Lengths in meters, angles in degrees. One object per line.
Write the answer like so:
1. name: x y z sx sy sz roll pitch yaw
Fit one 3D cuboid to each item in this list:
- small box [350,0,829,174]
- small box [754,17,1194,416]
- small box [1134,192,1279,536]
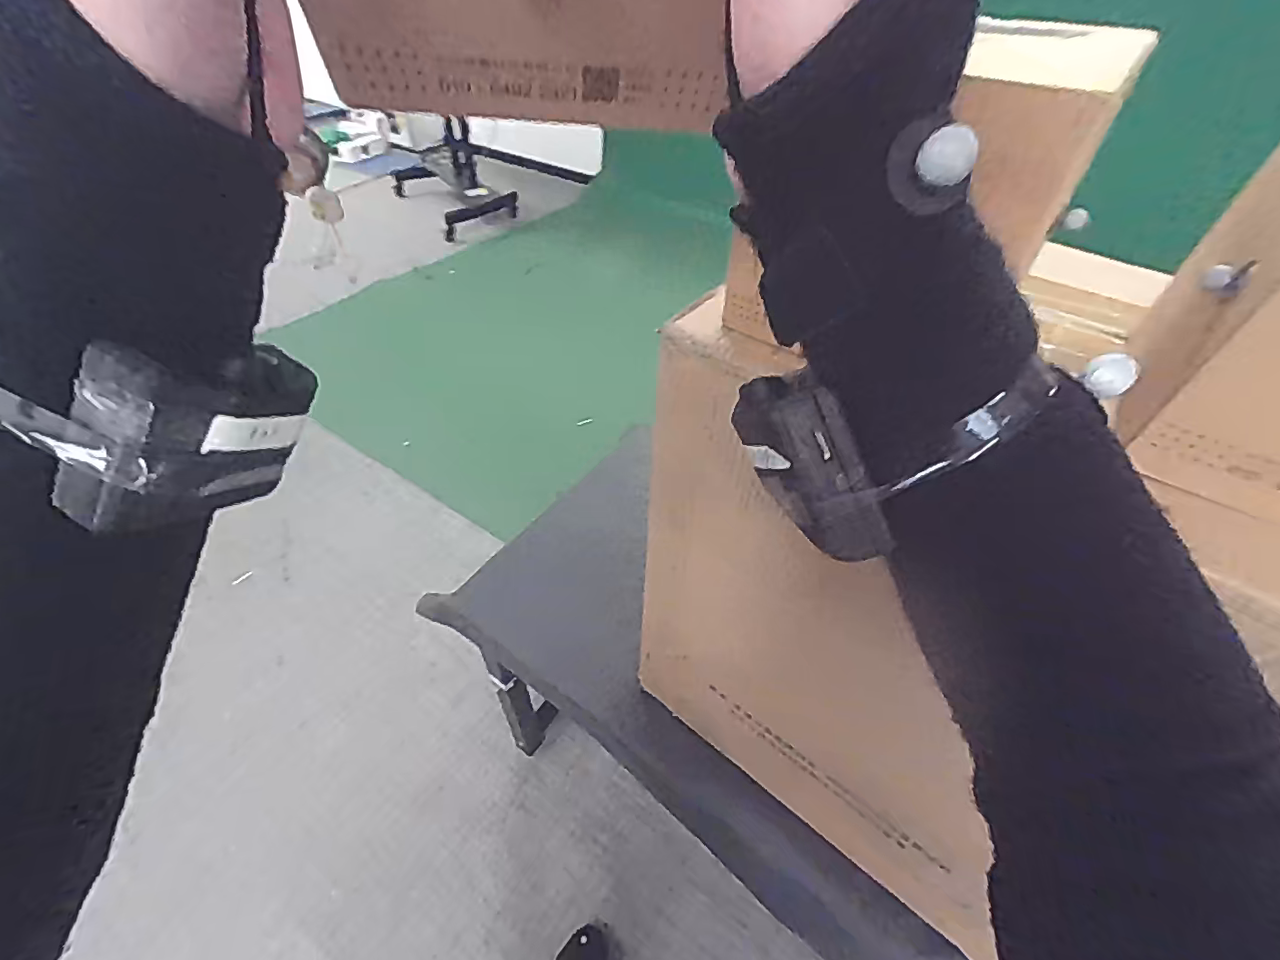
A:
1. small box: -0.019 -0.236 0.185 0.168 0.176 0.179 -4 78 -9
2. small box: 0.192 -0.174 0.351 0.168 0.176 0.179 32 54 26
3. small box: 0.396 -0.063 0.267 0.168 0.176 0.179 29 53 19
